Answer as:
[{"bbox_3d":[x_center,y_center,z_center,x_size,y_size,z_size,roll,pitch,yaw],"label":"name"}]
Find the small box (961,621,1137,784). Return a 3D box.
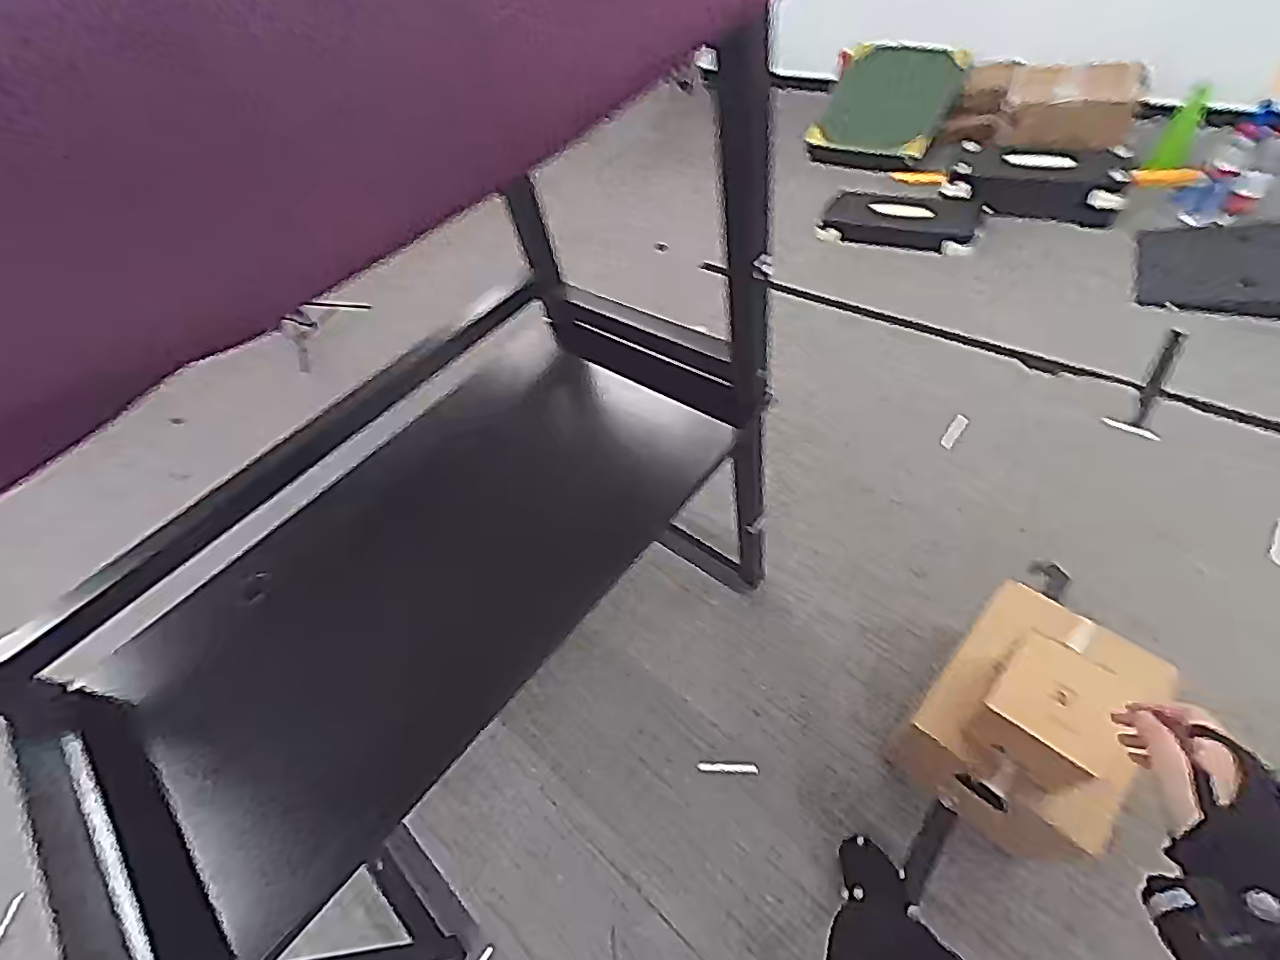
[{"bbox_3d":[0.686,0.383,0.928,0.168,0.176,0.179,33,67,32],"label":"small box"}]

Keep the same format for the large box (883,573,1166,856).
[{"bbox_3d":[0.777,0.489,1.140,0.320,0.320,0.408,34,66,30],"label":"large box"}]
